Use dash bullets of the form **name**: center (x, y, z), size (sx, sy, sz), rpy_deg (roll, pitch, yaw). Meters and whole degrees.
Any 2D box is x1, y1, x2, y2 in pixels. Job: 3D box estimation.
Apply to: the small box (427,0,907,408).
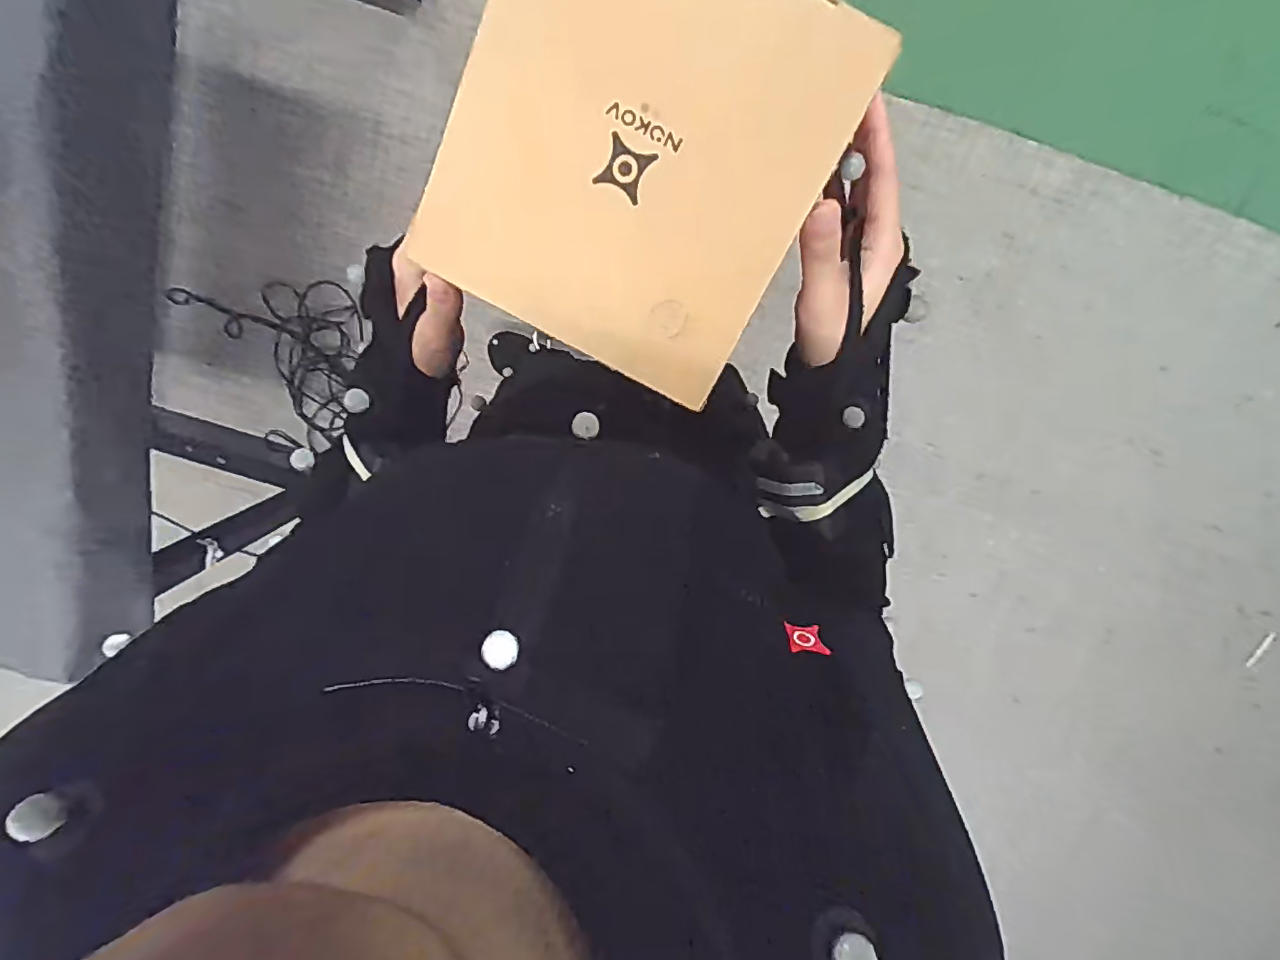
- **small box**: center (0.012, -0.168, 0.320), size (0.168, 0.176, 0.179), rpy_deg (27, 108, -2)
